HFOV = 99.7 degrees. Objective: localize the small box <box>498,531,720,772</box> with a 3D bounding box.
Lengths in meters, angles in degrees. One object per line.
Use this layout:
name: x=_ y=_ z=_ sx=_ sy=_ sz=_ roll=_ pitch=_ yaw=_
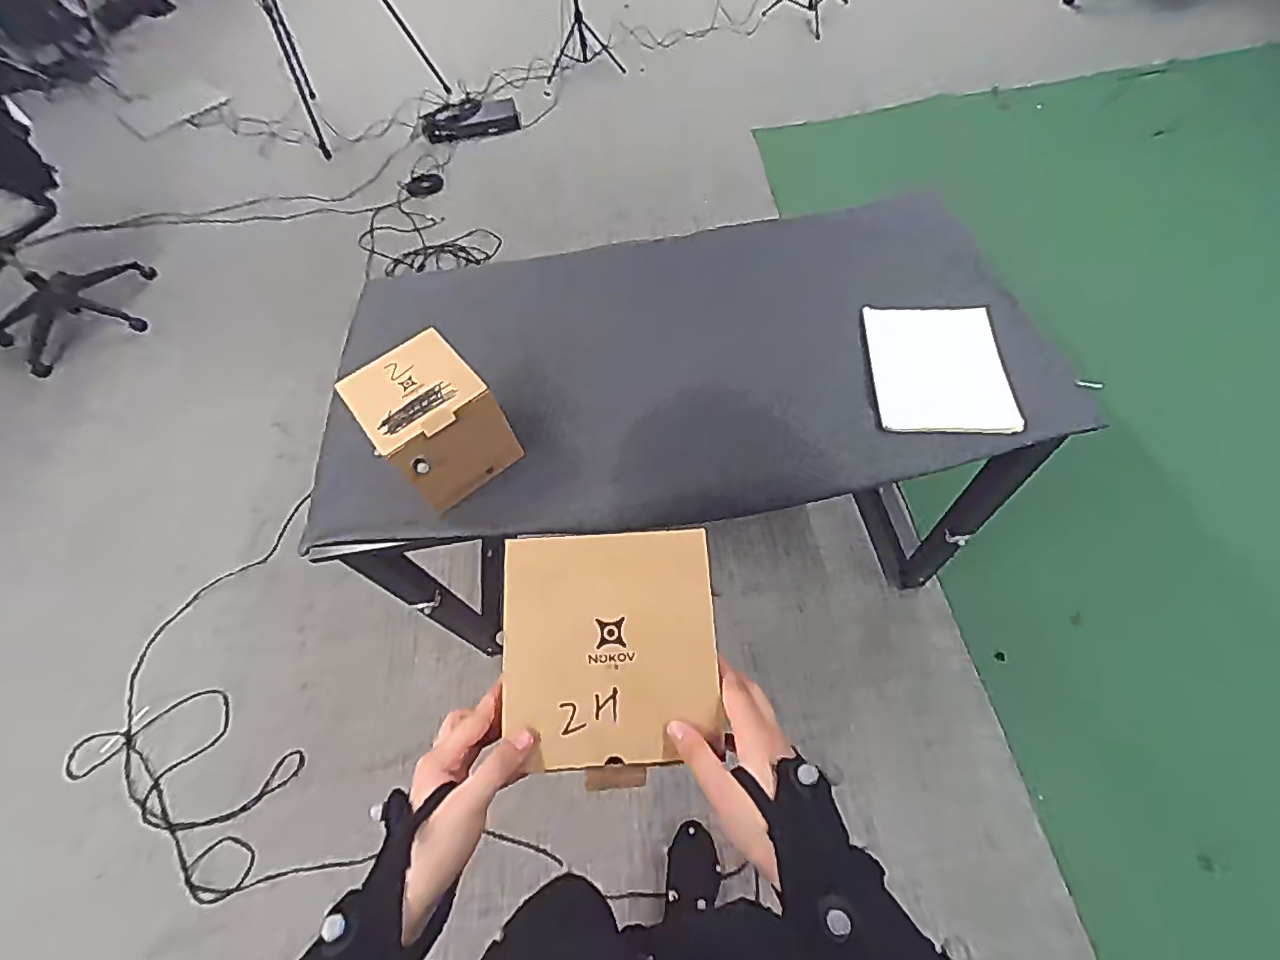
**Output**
small box: x=-0.026 y=0.153 z=0.496 sx=0.168 sy=0.176 sz=0.179 roll=-3 pitch=72 yaw=0
